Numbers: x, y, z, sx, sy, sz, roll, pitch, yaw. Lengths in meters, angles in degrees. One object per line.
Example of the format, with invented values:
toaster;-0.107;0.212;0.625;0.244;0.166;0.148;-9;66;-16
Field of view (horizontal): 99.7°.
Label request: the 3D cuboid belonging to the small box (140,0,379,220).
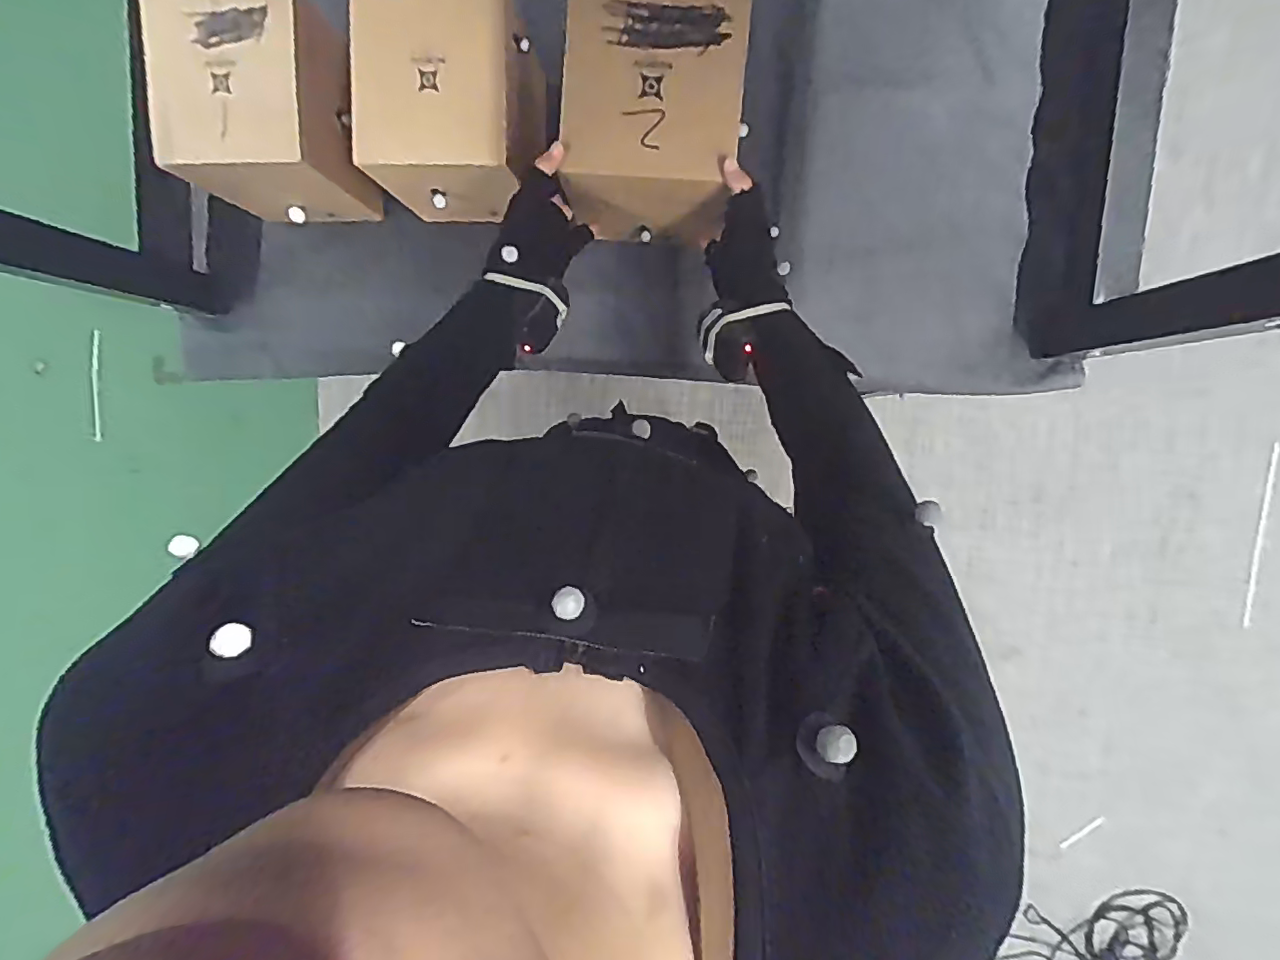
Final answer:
small box;-0.429;-0.430;0.637;0.168;0.176;0.179;2;96;4
